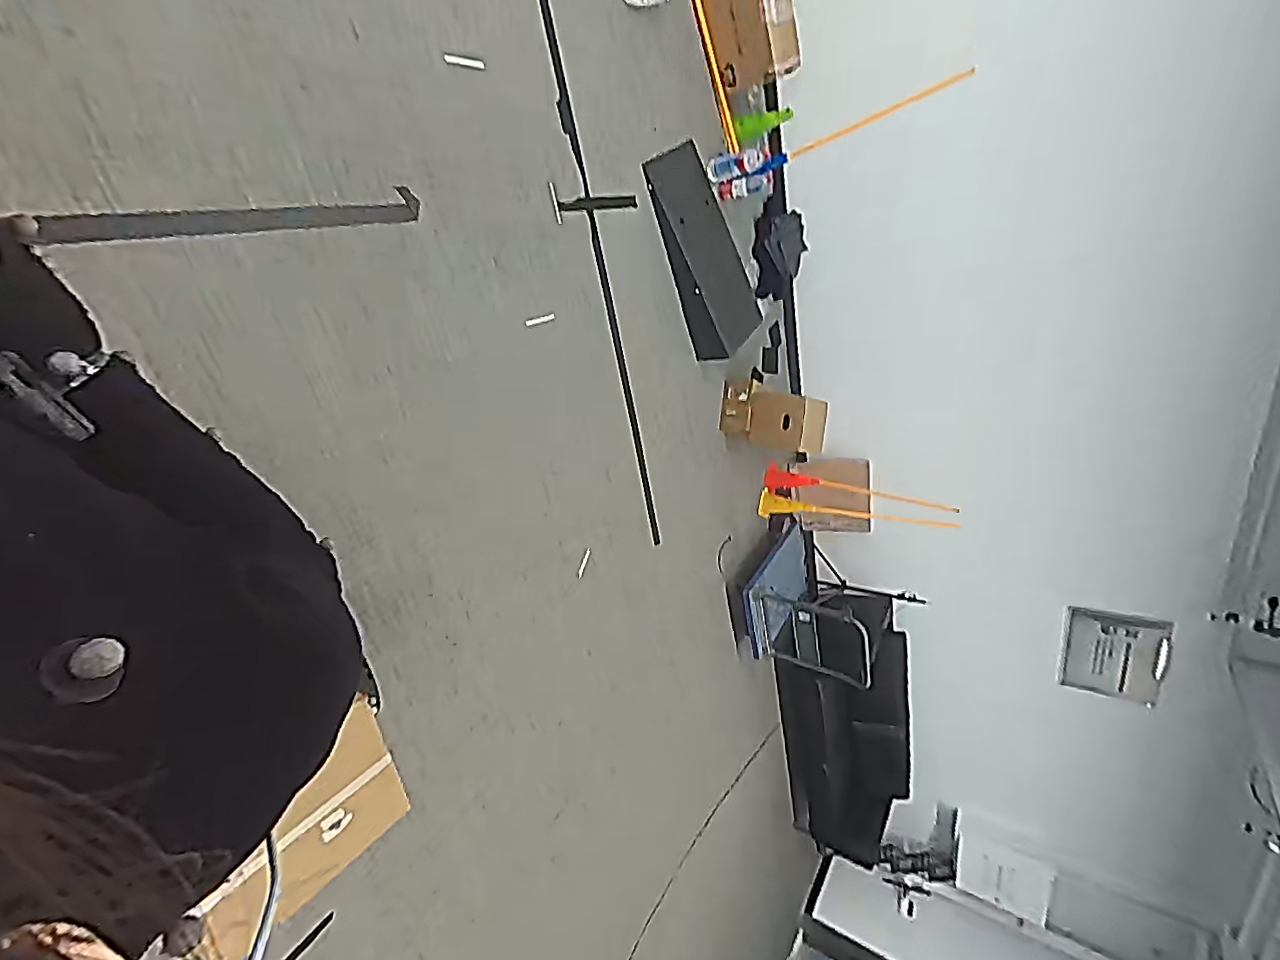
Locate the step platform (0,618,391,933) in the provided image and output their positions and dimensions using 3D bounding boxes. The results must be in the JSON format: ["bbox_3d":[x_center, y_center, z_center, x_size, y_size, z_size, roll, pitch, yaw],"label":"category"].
[{"bbox_3d":[-0.933,0.603,1.230,0.684,0.204,0.286,-29,117,-49],"label":"step platform"}]

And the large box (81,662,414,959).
[{"bbox_3d":[-0.751,0.638,1.078,0.408,0.320,0.320,-32,120,-48],"label":"large box"}]
